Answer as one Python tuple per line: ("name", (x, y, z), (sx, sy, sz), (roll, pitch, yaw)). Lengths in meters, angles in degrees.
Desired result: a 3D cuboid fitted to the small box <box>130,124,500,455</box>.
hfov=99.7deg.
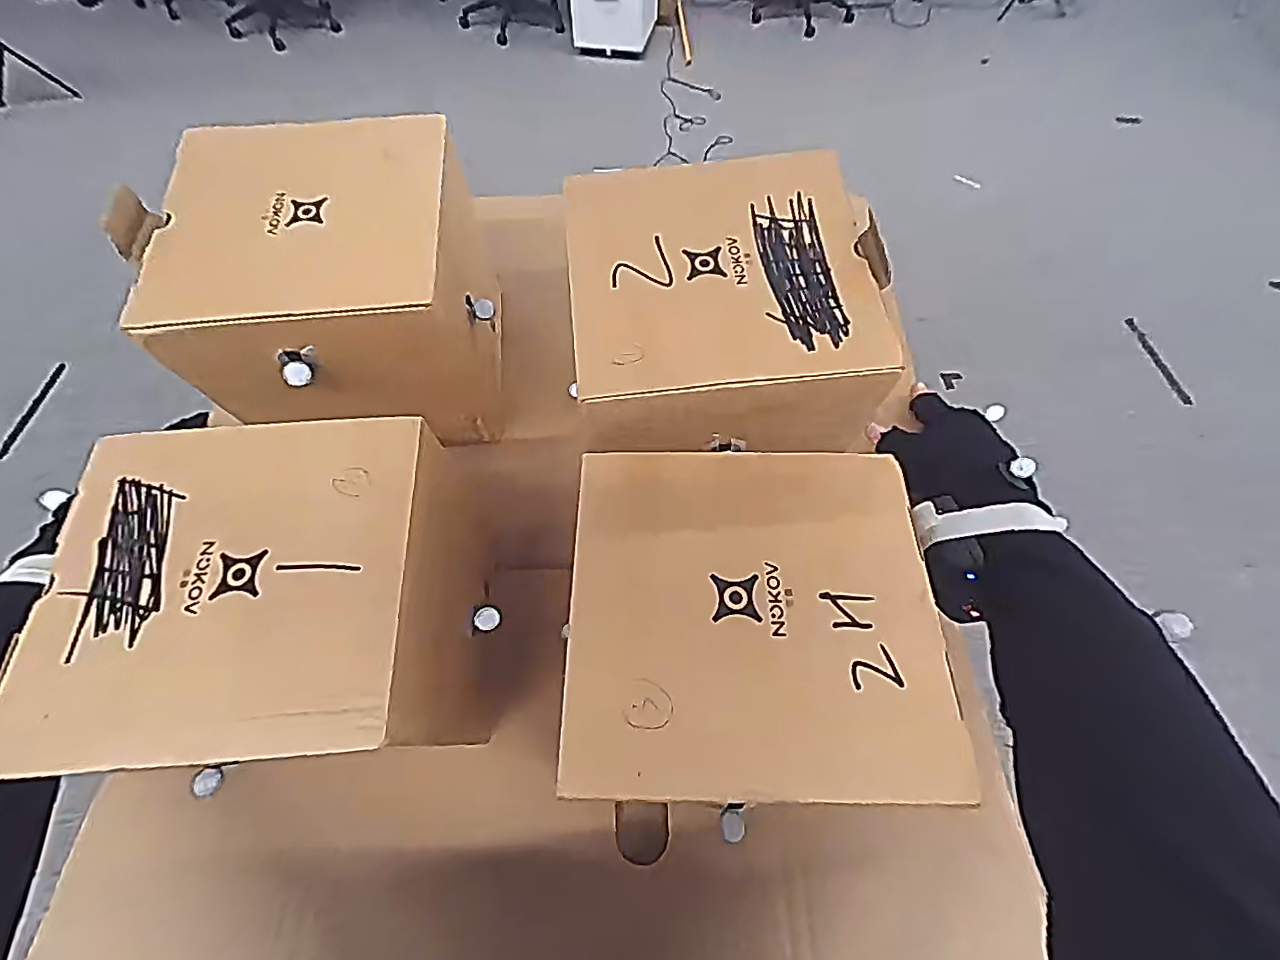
("small box", (-0.210, -0.131, 0.413), (0.179, 0.176, 0.168), (-6, 67, -1))
